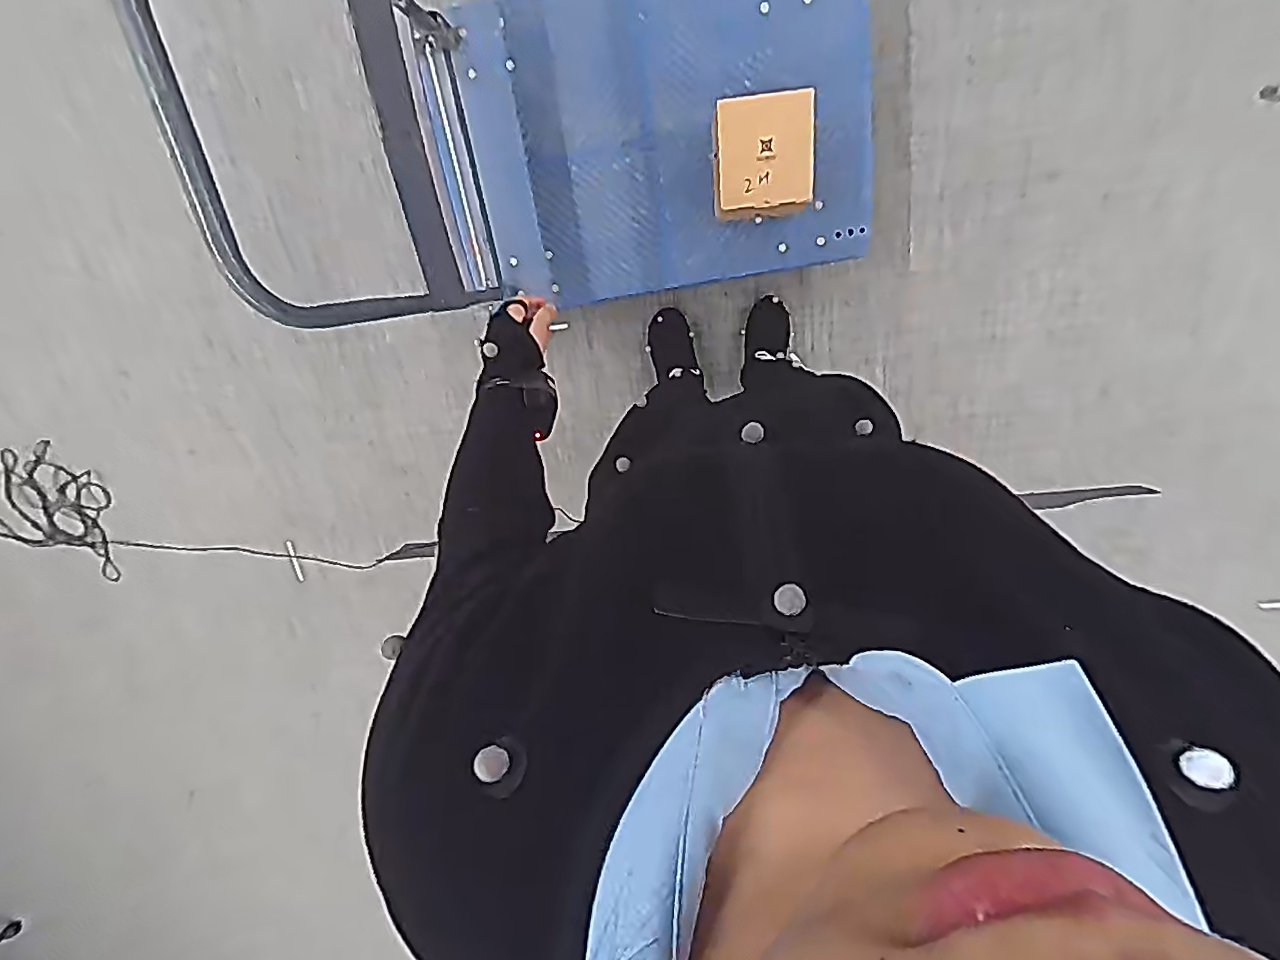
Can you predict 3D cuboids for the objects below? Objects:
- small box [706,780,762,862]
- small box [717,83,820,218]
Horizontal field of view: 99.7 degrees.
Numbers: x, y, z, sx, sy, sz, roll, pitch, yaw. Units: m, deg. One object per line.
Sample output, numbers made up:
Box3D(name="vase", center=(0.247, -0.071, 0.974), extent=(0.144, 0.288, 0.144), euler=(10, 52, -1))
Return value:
Box3D(name="small box", center=(0.318, 1.154, 1.834), extent=(0.168, 0.176, 0.179), euler=(-8, 108, 6))
Box3D(name="small box", center=(0.234, -0.606, 1.016), extent=(0.168, 0.176, 0.179), euler=(-3, 109, 6))
